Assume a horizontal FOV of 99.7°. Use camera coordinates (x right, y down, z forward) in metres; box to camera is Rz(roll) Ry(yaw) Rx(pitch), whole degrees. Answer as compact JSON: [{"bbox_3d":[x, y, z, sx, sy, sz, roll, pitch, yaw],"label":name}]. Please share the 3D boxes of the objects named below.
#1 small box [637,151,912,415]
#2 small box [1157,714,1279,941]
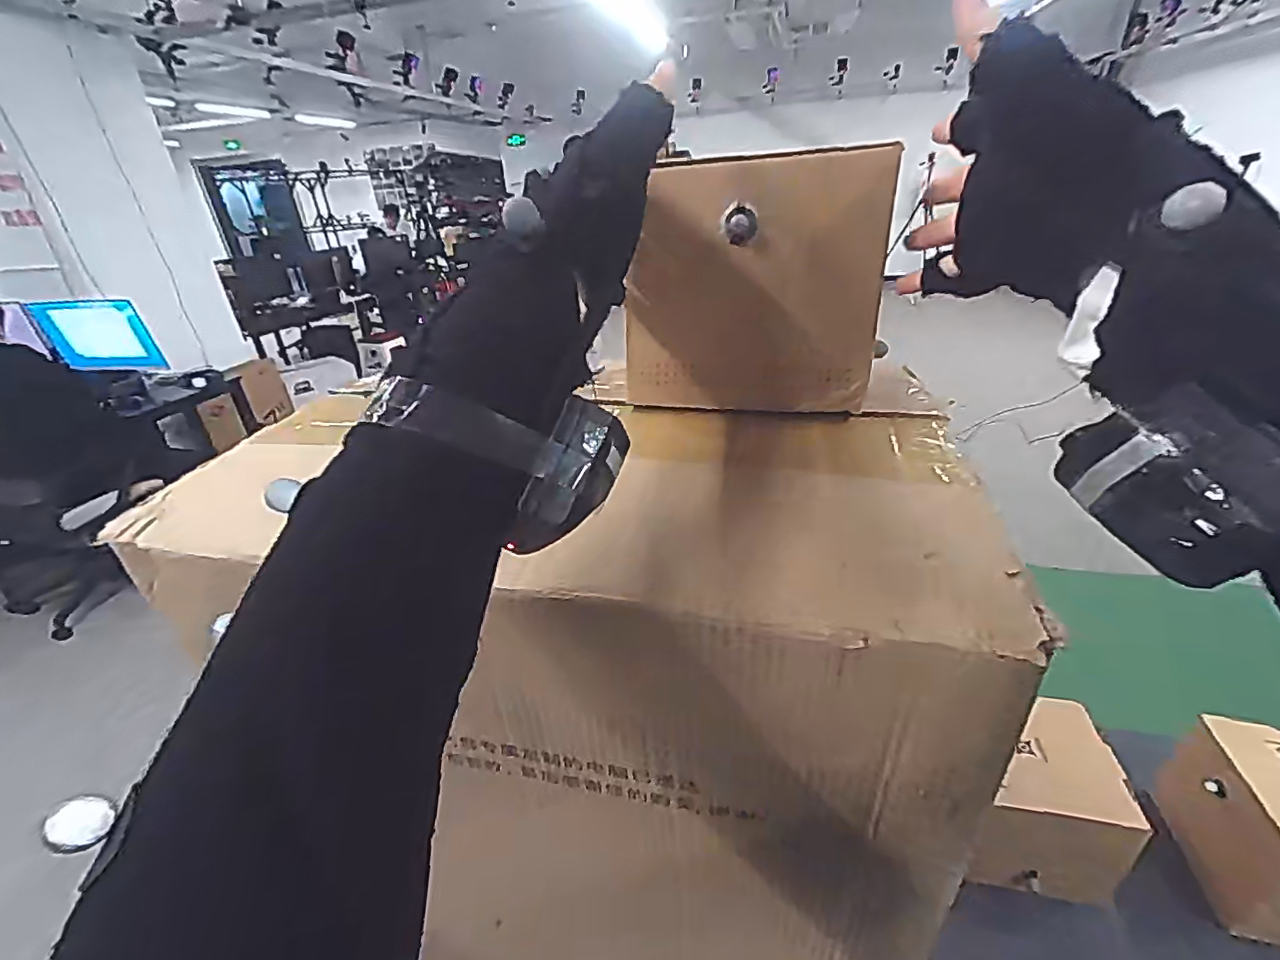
[{"bbox_3d":[0.103,-0.155,0.444,0.179,0.176,0.168,6,25,14],"label":"small box"},{"bbox_3d":[0.780,0.419,0.643,0.168,0.176,0.179,4,30,15],"label":"small box"}]
